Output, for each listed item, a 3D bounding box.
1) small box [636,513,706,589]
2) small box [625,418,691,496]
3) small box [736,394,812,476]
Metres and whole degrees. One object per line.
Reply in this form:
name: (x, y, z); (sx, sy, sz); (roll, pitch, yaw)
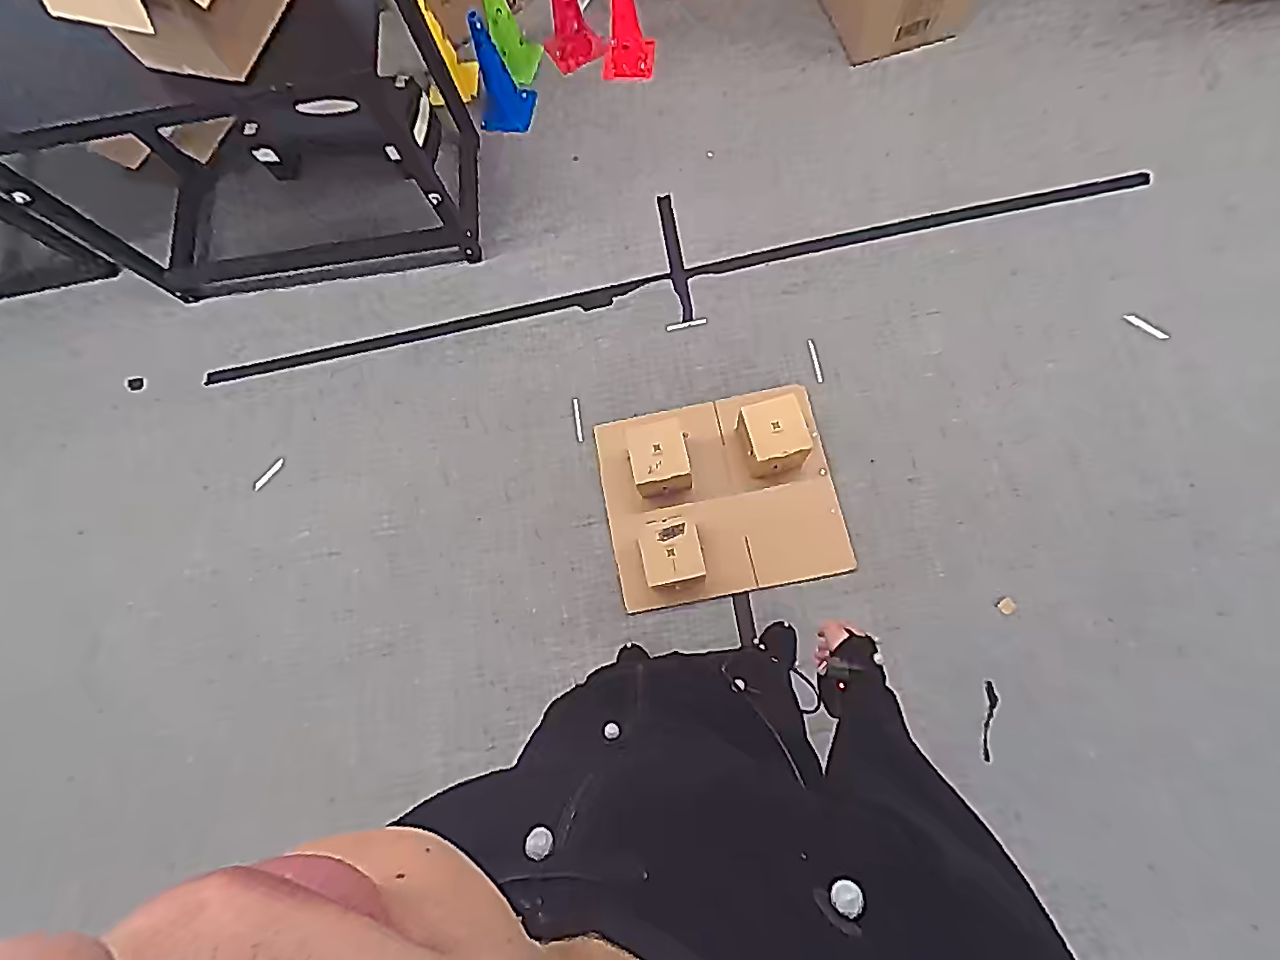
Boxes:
small box: (0.090, 0.209, 1.559); (0.168, 0.176, 0.179); (-13, 76, 3)
small box: (0.056, -0.065, 1.631); (0.168, 0.176, 0.179); (-12, 75, 3)
small box: (0.394, -0.129, 1.620); (0.168, 0.176, 0.179); (-15, 75, 2)
